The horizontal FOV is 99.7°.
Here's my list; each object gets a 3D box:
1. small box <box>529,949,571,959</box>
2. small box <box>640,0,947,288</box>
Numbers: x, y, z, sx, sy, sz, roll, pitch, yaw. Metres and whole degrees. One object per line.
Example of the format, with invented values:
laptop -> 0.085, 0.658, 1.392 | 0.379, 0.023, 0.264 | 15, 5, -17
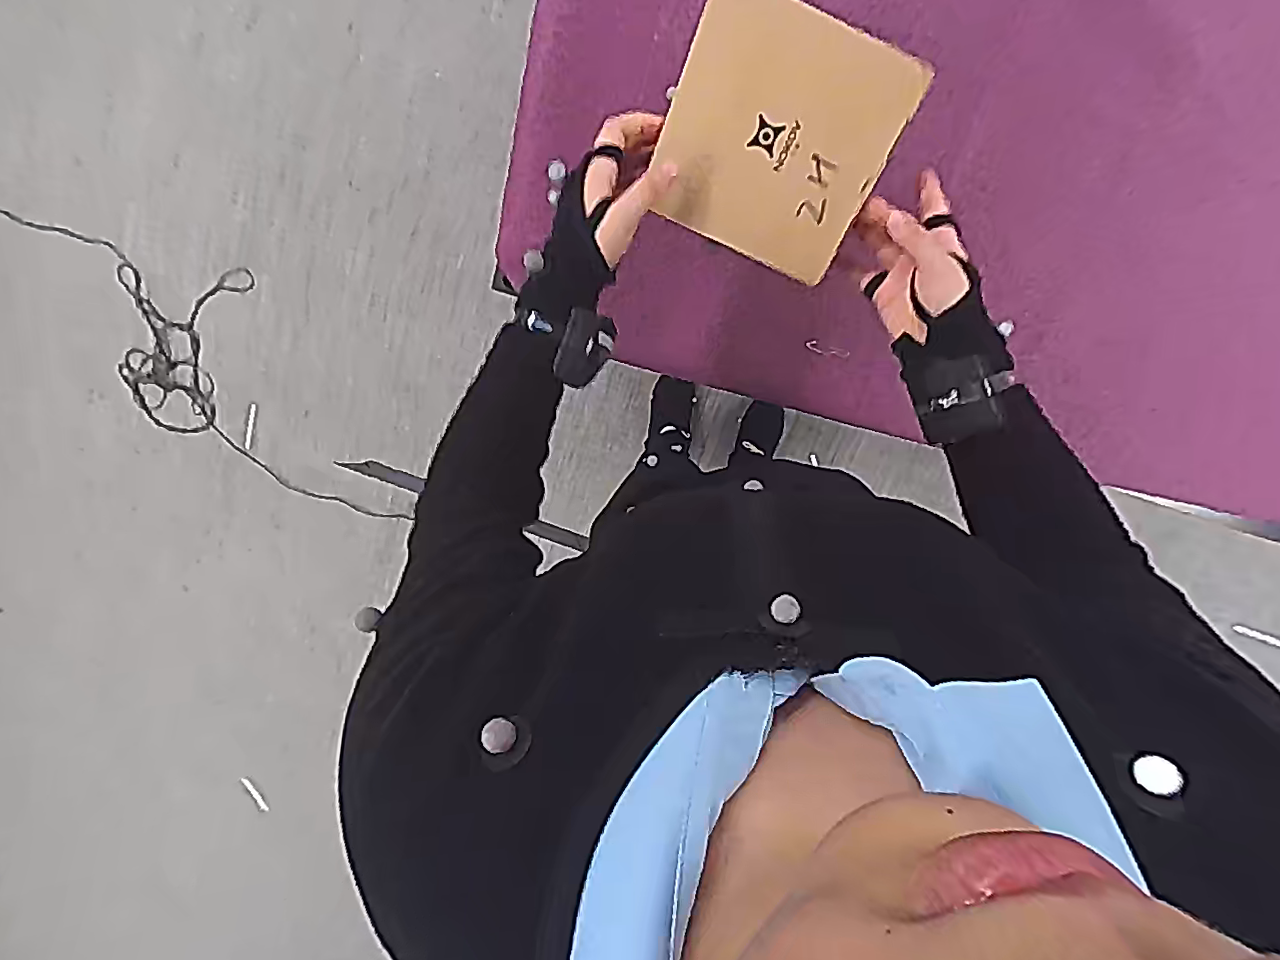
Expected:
small box -> -0.336, 1.805, 1.888 | 0.168, 0.176, 0.179 | 13, 104, 2
small box -> 0.122, -0.301, 0.487 | 0.179, 0.176, 0.168 | 27, 121, -7
